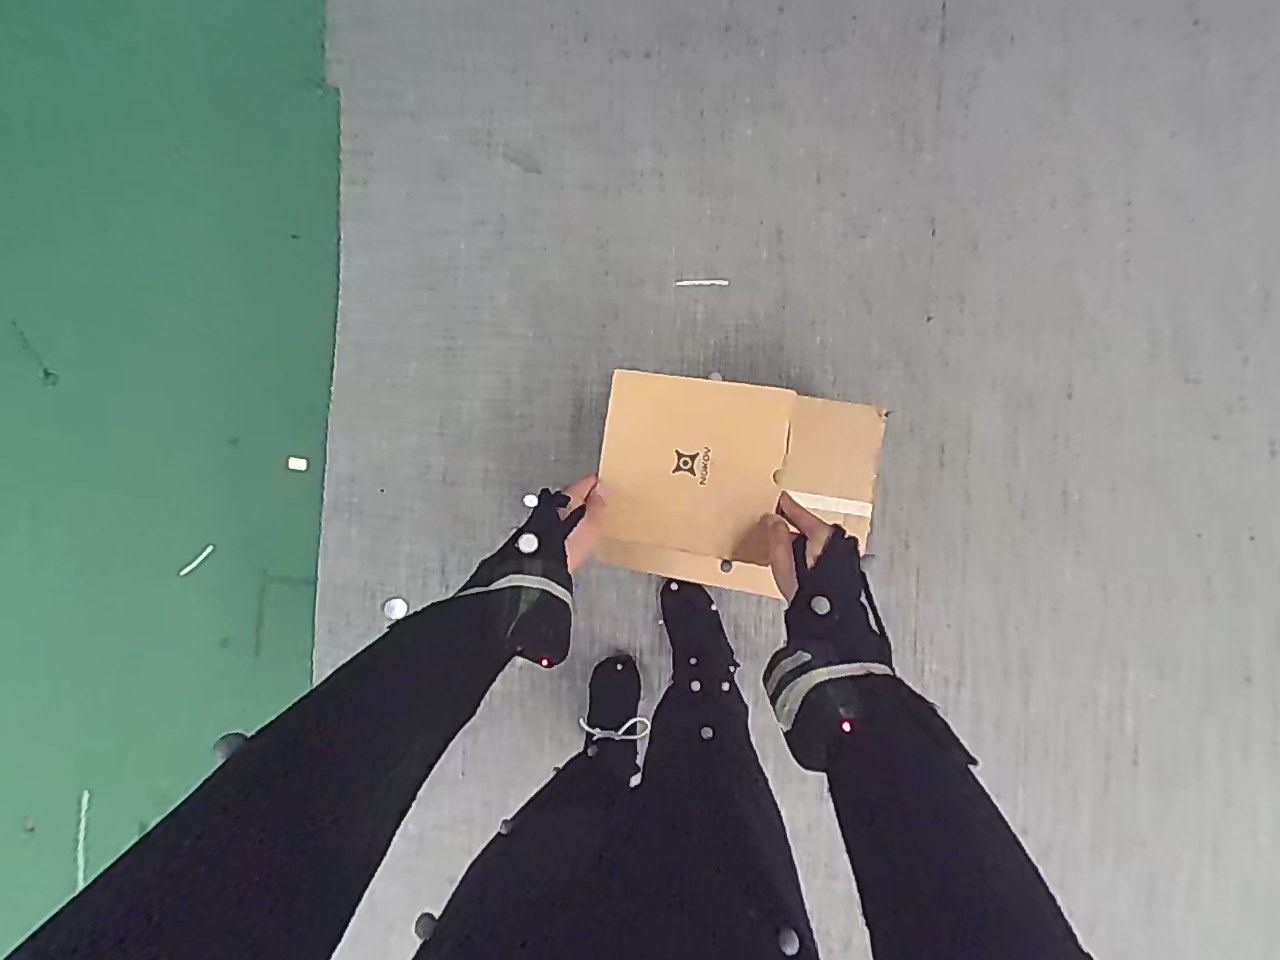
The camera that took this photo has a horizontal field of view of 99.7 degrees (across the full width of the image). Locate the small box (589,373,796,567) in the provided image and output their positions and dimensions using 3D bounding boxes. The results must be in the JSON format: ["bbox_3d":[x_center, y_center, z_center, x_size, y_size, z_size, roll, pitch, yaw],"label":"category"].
[{"bbox_3d":[0.058,-0.005,0.586,0.179,0.176,0.168,8,87,8],"label":"small box"}]

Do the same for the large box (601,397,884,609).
[{"bbox_3d":[0.170,0.019,0.983,0.408,0.320,0.320,9,91,8],"label":"large box"}]
